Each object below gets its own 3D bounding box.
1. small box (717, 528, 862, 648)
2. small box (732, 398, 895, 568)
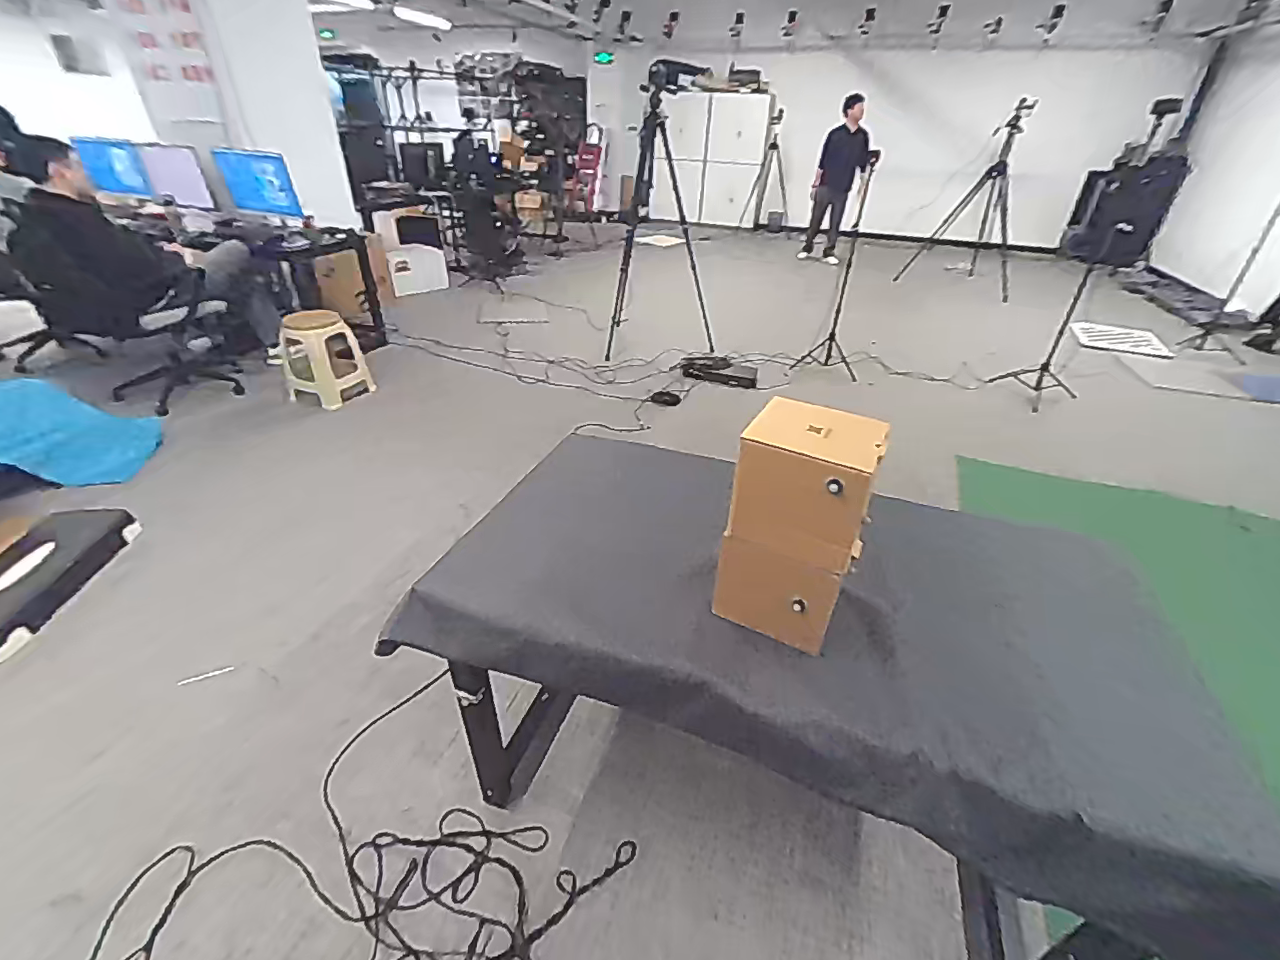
[{"bbox_3d":[0.239,0.139,0.871,0.179,0.176,0.168,17,35,23],"label":"small box"},{"bbox_3d":[0.246,0.001,0.786,0.179,0.176,0.168,19,36,23],"label":"small box"}]
